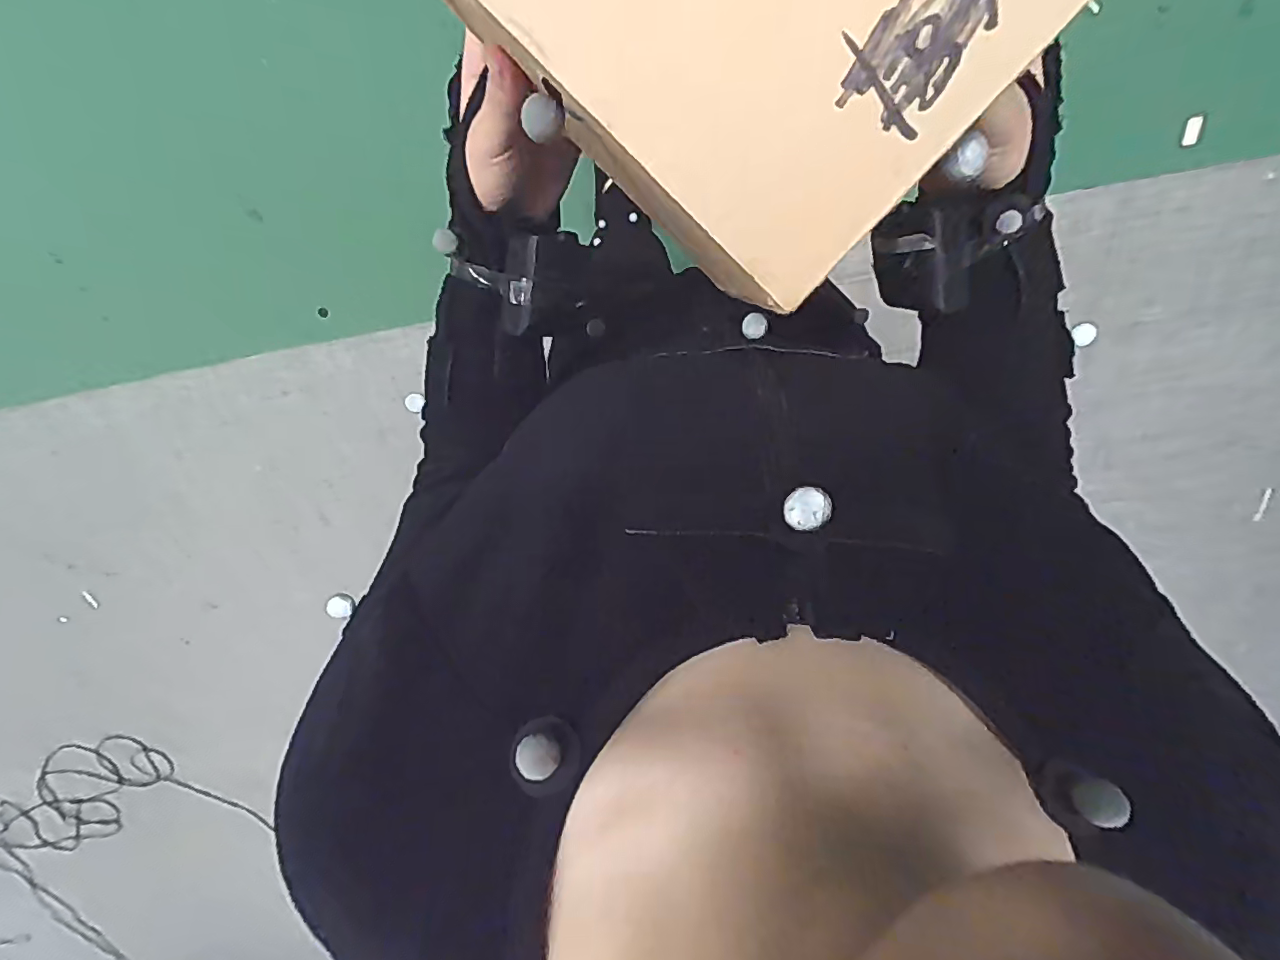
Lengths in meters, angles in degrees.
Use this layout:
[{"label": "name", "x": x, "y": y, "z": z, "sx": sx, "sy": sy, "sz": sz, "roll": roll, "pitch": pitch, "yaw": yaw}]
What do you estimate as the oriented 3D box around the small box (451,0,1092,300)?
[{"label": "small box", "x": 0.040, "y": -0.187, "z": 0.196, "sx": 0.179, "sy": 0.176, "sz": 0.168, "roll": 40, "pitch": 109, "yaw": -10}]
